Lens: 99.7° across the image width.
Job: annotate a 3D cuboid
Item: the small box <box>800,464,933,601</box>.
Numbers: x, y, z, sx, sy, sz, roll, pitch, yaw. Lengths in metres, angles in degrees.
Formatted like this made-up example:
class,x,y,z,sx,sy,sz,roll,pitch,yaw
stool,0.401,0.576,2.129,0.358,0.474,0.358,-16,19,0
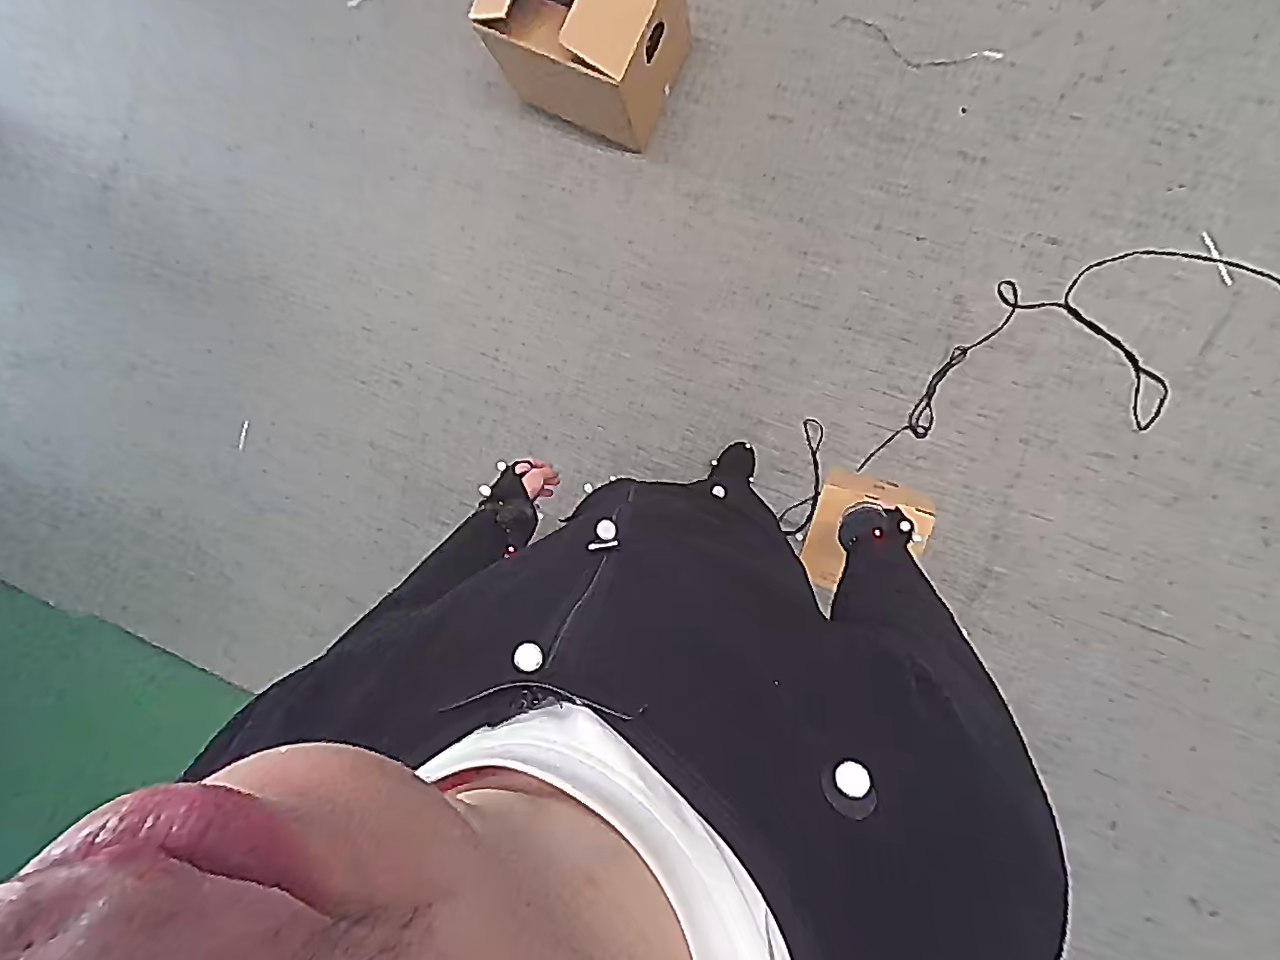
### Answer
class,x,y,z,sx,sy,sz,roll,pitch,yaw
small box,0.376,0.083,0.915,0.168,0.179,0.176,15,106,18
